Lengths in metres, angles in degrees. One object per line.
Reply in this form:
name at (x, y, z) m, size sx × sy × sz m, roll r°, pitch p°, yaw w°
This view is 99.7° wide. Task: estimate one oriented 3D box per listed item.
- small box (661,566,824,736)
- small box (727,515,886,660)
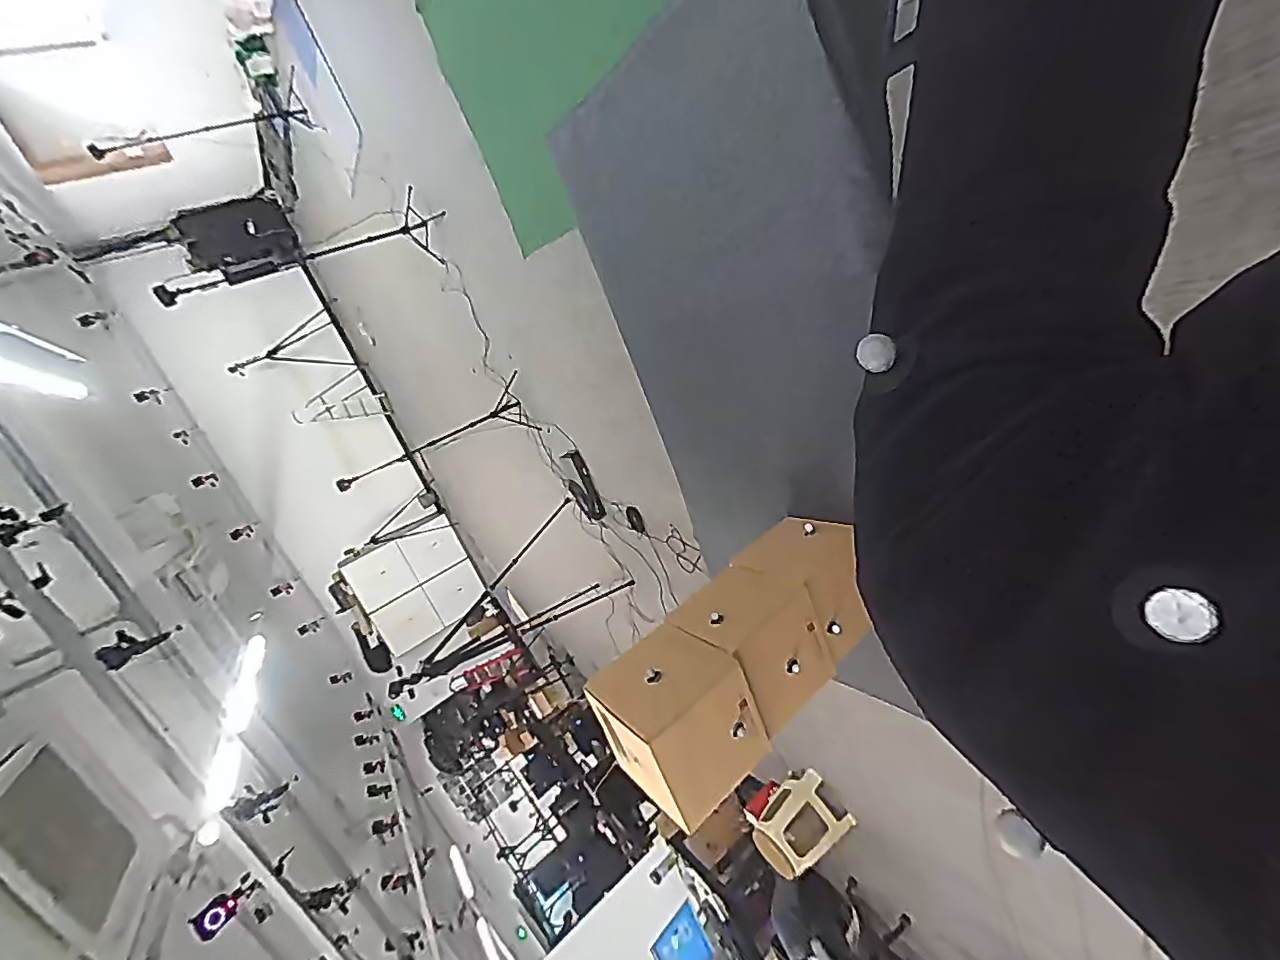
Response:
small box at (0.169, 0.257, 0.862) m, size 0.179 × 0.176 × 0.168 m, roll 6°, pitch 122°, yaw 58°
small box at (0.289, 0.173, 0.940) m, size 0.179 × 0.176 × 0.168 m, roll 5°, pitch 122°, yaw 59°
